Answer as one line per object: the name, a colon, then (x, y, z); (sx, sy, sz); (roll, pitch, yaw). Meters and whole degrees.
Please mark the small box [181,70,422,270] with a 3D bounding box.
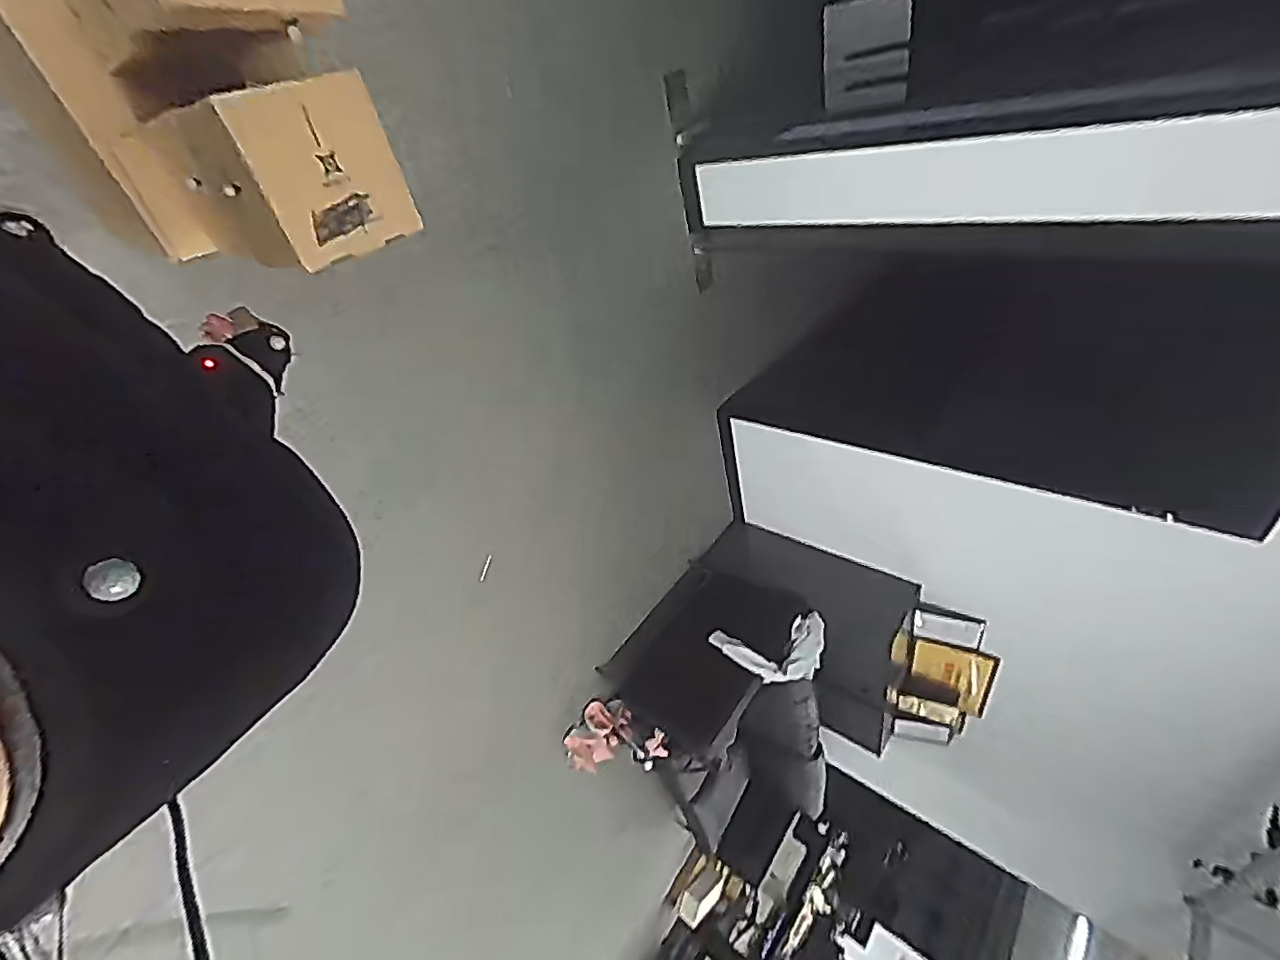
small box: (-0.415, -0.380, 0.675); (0.168, 0.176, 0.179); (-42, 134, -32)
